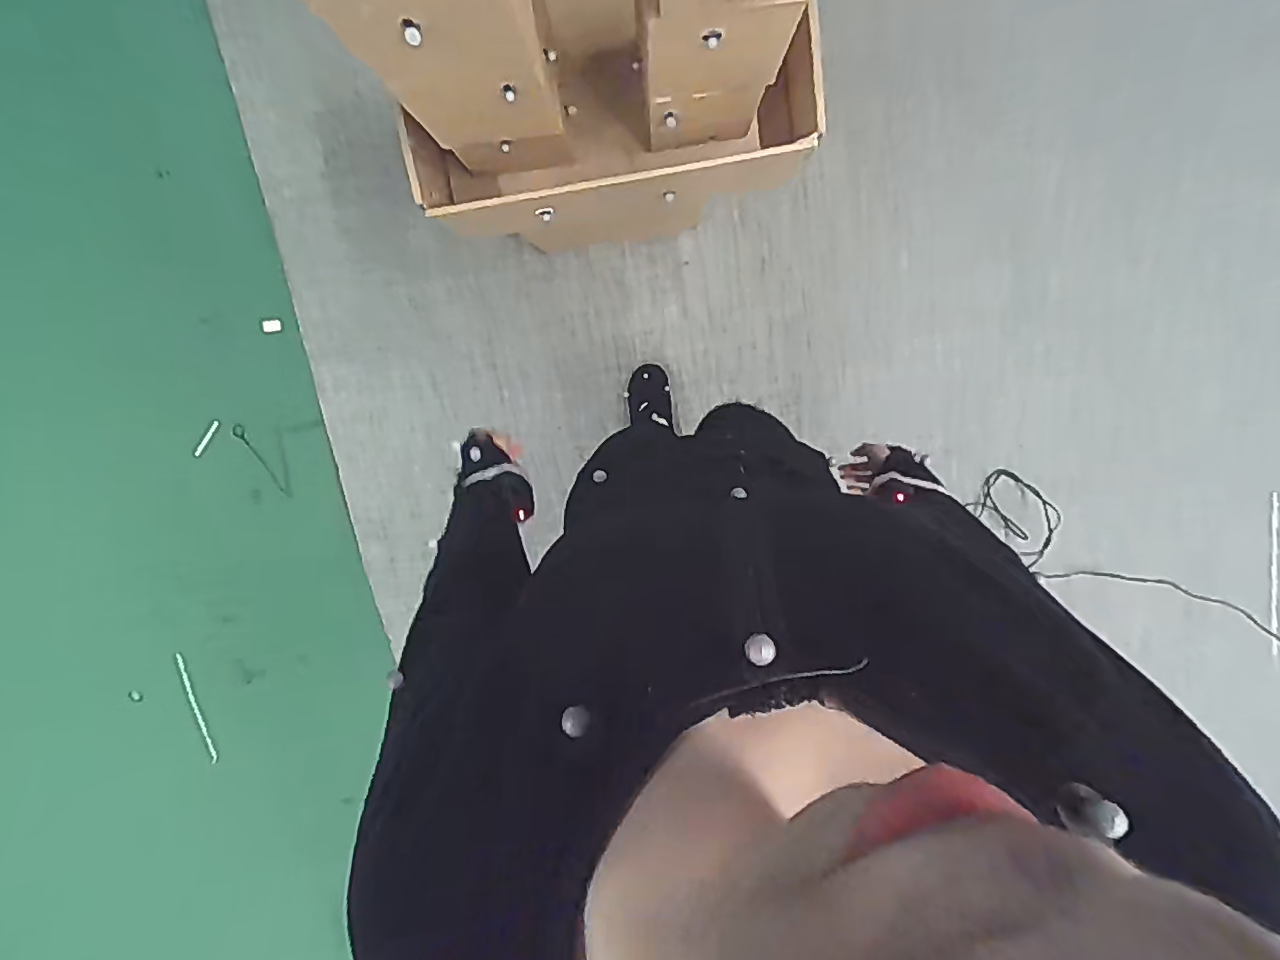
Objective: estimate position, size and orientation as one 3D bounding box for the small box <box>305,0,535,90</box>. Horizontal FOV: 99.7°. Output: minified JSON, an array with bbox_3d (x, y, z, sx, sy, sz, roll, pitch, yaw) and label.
[{"bbox_3d":[-0.212,-0.506,0.513,0.179,0.176,0.168,-6,101,2],"label":"small box"}]

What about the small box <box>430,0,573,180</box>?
[{"bbox_3d":[-0.209,-0.584,0.831,0.179,0.176,0.168,-7,101,2],"label":"small box"}]

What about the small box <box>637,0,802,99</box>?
[{"bbox_3d":[0.084,-0.594,0.653,0.179,0.176,0.168,-5,100,1],"label":"small box"}]

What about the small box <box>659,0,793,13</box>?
[{"bbox_3d":[0.087,-0.571,0.489,0.168,0.176,0.179,-7,100,2],"label":"small box"}]
